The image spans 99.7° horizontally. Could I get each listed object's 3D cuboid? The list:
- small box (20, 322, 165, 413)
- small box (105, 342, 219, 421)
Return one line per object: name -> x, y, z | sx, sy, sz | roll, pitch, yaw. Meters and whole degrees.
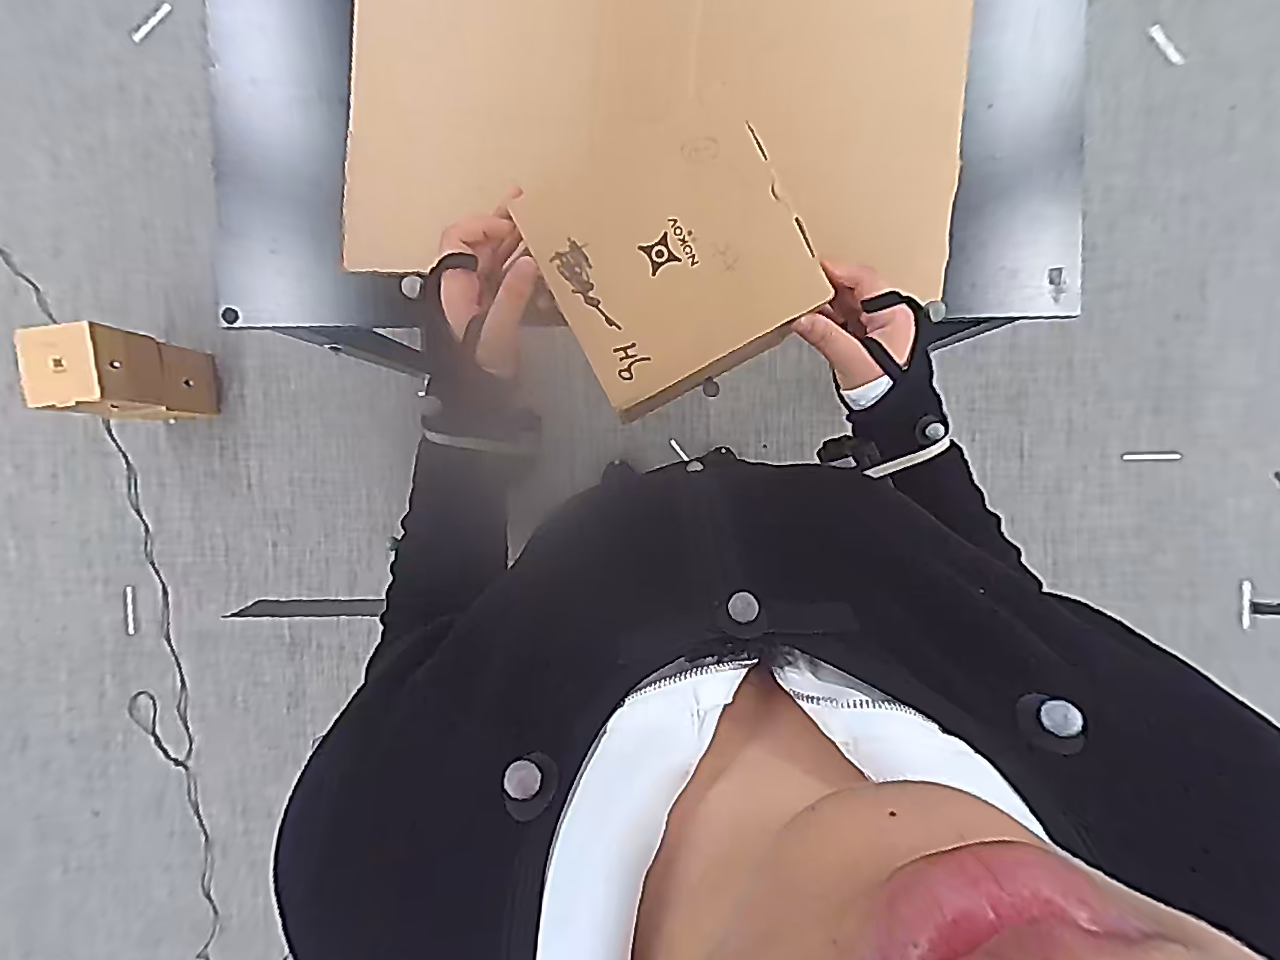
small box -> -1.260, -0.252, 1.259 | 0.168, 0.176, 0.179 | -7, 92, 0
small box -> -1.257, -0.253, 1.422 | 0.168, 0.176, 0.179 | -5, 93, 1
